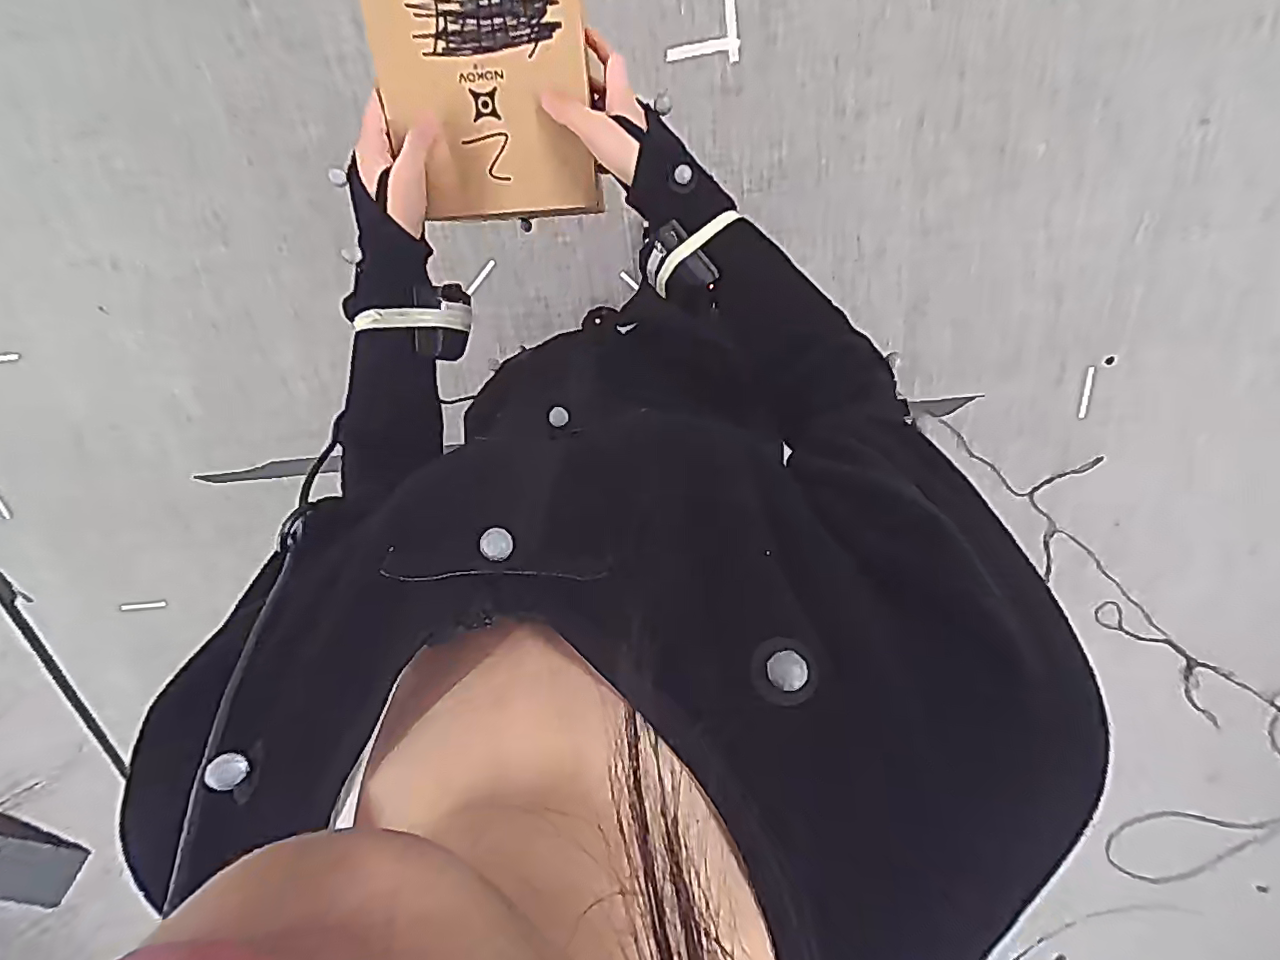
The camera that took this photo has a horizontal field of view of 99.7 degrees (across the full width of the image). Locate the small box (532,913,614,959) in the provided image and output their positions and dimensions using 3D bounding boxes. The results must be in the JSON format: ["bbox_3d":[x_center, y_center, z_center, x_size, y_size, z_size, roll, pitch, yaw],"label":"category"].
[{"bbox_3d":[-0.143,1.043,1.114,0.168,0.176,0.179,5,112,-1],"label":"small box"}]

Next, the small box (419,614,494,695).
[{"bbox_3d":[-0.576,0.544,1.705,0.179,0.176,0.168,10,112,-4],"label":"small box"}]
